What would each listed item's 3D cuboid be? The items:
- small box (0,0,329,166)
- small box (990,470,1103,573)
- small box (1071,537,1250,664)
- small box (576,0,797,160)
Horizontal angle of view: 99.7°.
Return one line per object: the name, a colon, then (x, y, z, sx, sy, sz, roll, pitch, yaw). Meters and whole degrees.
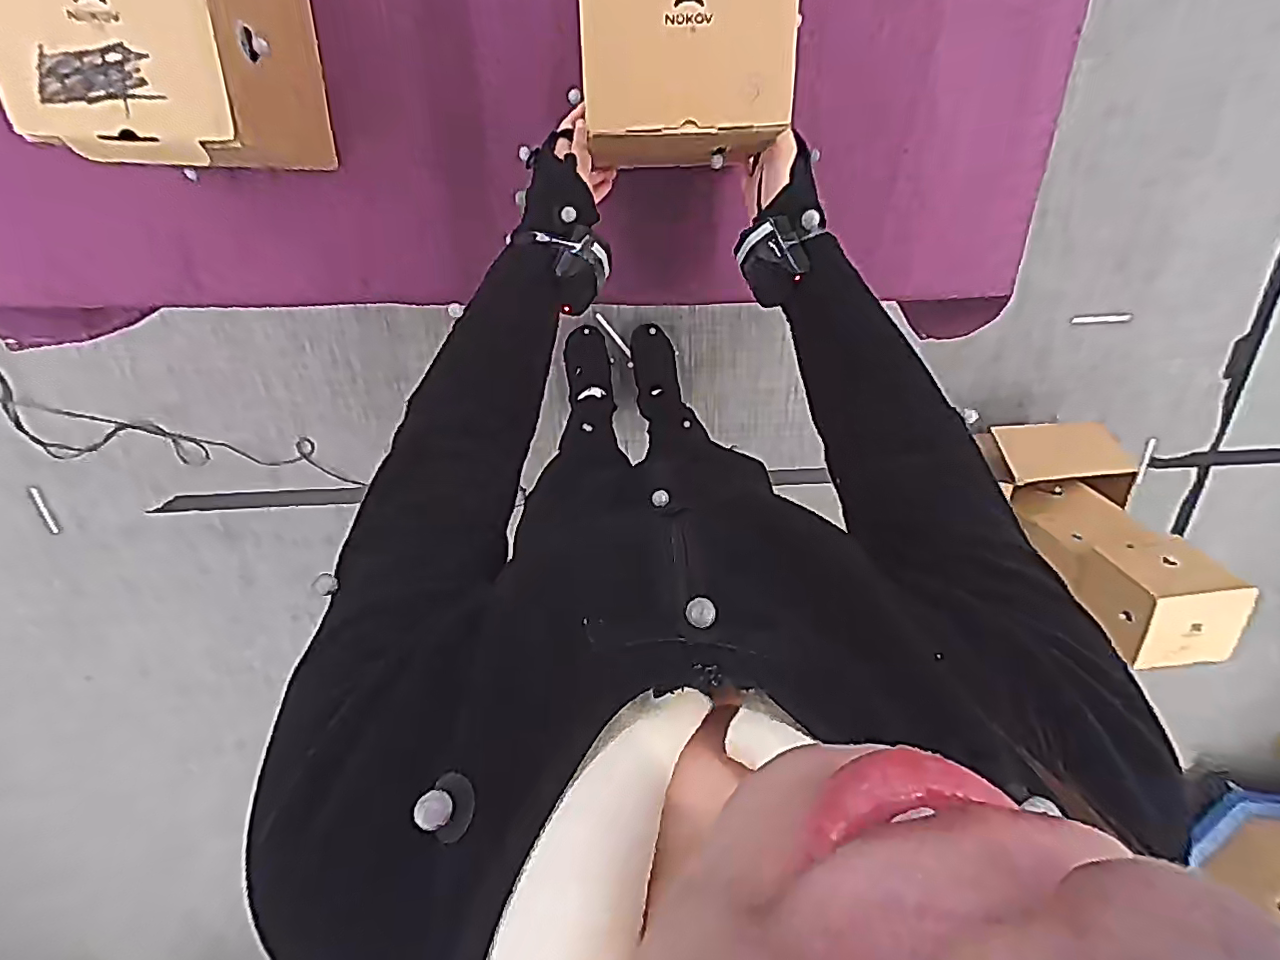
small box: (-0.392, -0.373, 0.453, 0.168, 0.176, 0.179, 0, 113, -4)
small box: (1.005, 0.095, 1.348, 0.168, 0.176, 0.179, -21, 117, 10)
small box: (0.984, 0.223, 1.044, 0.168, 0.176, 0.179, -8, 118, 5)
small box: (0.031, -0.388, 0.470, 0.168, 0.176, 0.179, -3, 112, -2)
